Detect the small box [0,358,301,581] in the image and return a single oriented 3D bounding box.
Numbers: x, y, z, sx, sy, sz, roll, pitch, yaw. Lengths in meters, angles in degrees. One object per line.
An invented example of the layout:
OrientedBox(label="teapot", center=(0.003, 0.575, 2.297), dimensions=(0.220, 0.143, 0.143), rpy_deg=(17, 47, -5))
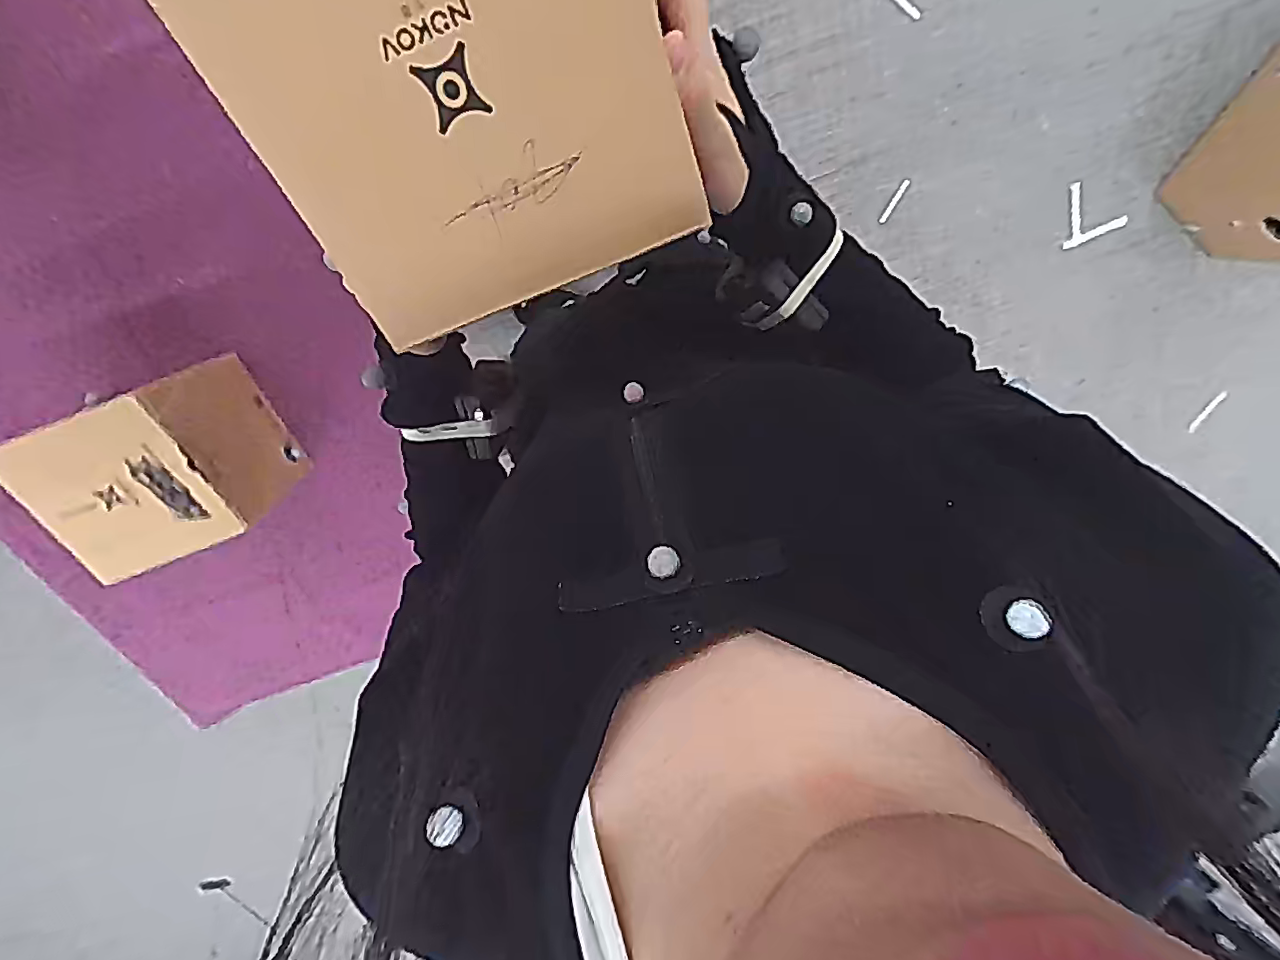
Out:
OrientedBox(label="small box", center=(-0.527, -0.022, 0.615), dimensions=(0.179, 0.176, 0.168), rpy_deg=(-20, 116, 4))

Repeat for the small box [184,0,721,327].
OrientedBox(label="small box", center=(-0.074, -0.209, 0.264), dimensions=(0.168, 0.176, 0.179), rpy_deg=(-18, 128, 9))
